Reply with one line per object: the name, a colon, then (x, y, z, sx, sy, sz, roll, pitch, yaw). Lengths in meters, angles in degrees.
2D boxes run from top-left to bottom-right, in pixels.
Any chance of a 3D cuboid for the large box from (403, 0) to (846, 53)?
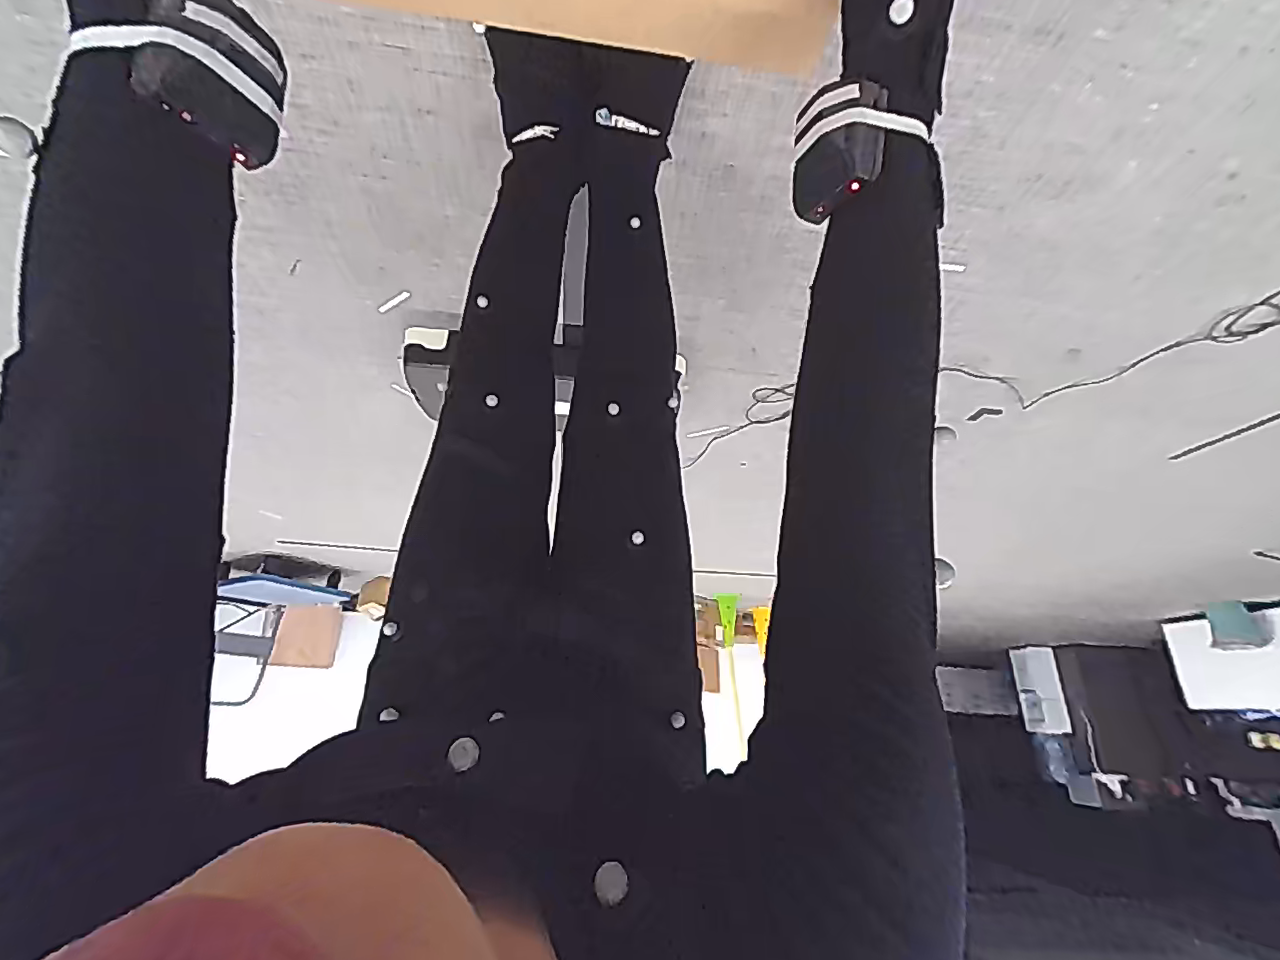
large box: (-0.029, -0.554, 0.345, 0.408, 0.320, 0.320, 4, 157, -6)
